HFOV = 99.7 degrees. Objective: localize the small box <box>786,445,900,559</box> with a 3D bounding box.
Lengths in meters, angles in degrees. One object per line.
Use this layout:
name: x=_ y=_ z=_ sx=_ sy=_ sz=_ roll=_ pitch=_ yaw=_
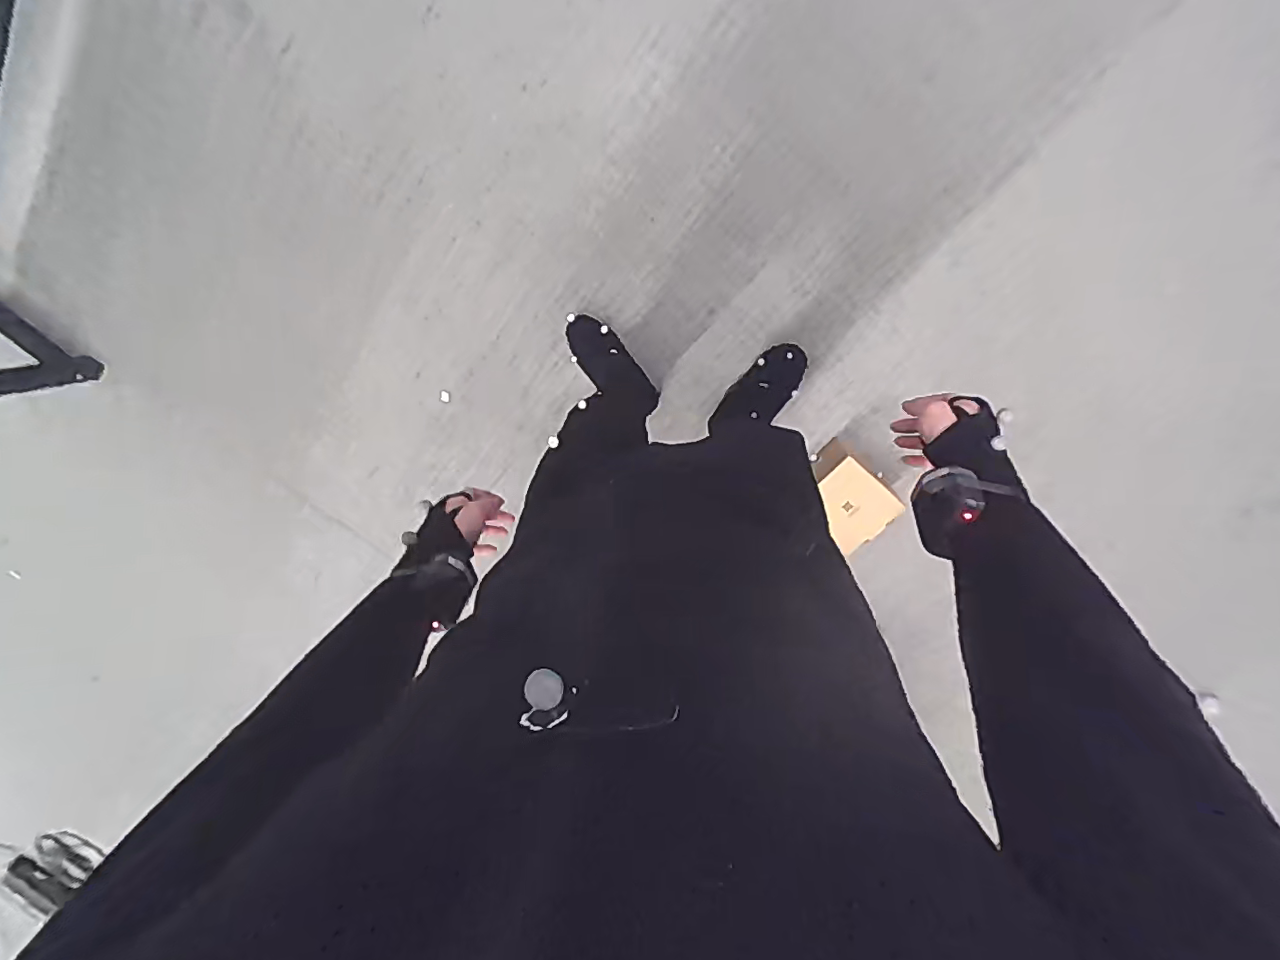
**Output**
small box: x=0.462 y=0.043 z=1.256 sx=0.179 sy=0.176 sz=0.168 roll=41 pitch=111 yaw=-5
